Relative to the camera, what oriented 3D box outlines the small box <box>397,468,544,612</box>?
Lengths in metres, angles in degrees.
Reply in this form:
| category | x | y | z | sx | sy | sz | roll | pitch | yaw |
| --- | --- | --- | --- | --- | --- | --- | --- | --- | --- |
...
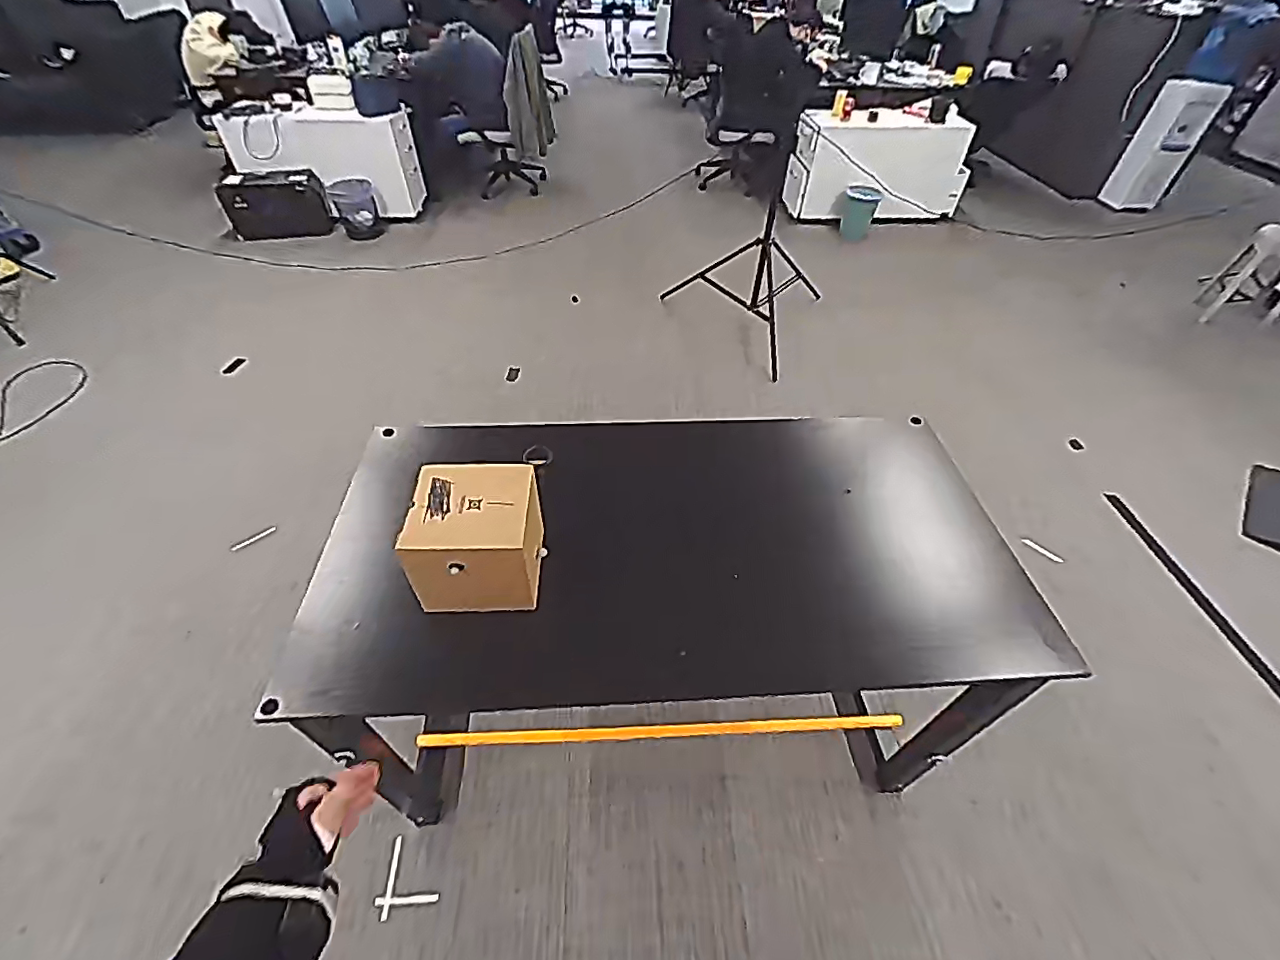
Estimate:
| category | x | y | z | sx | sy | sz | roll | pitch | yaw |
| --- | --- | --- | --- | --- | --- | --- | --- | --- | --- |
| small box | -0.254 | 0.097 | 0.859 | 0.179 | 0.176 | 0.168 | 0 | 46 | -3 |
